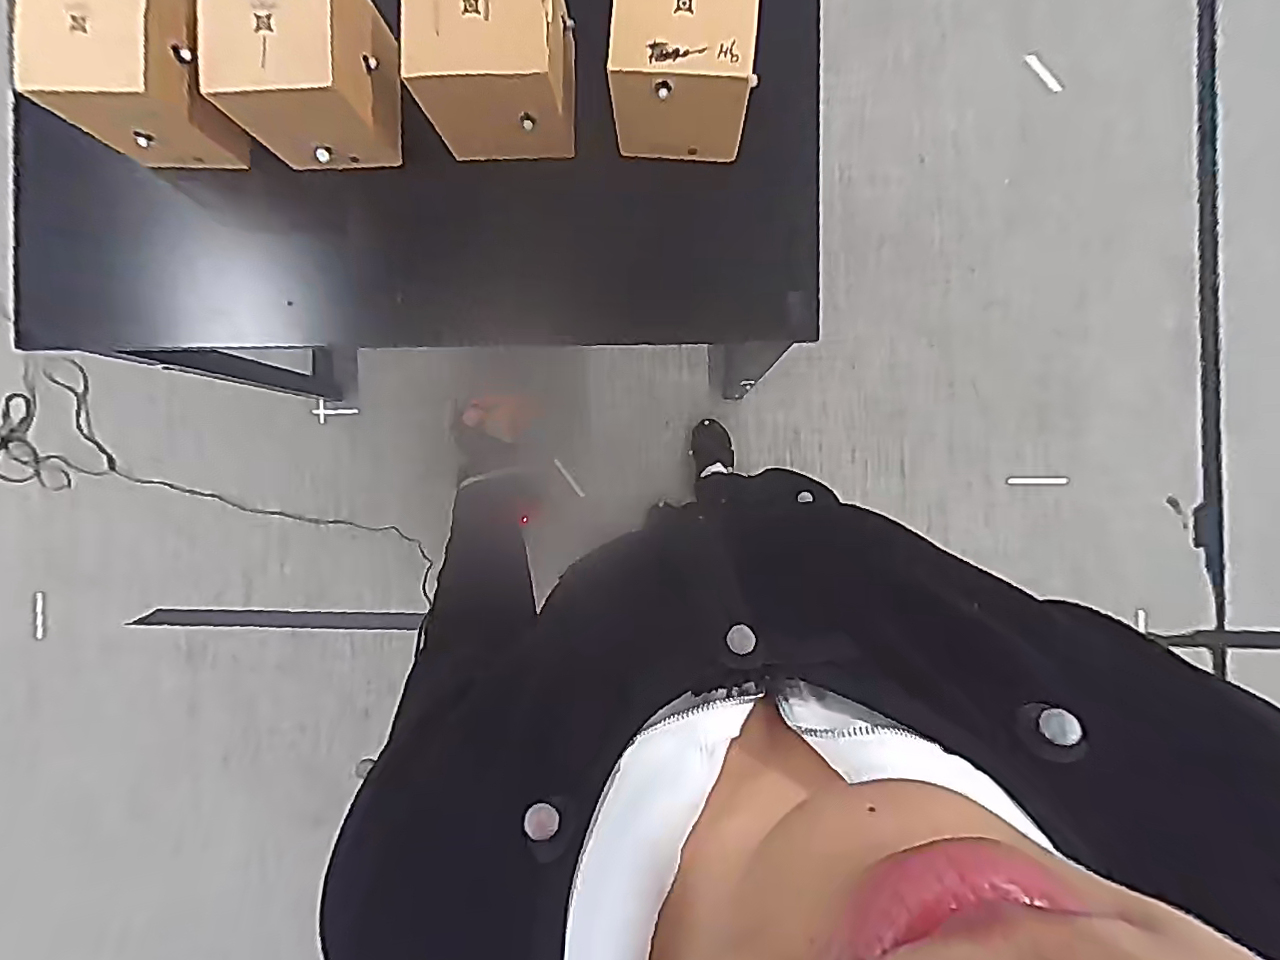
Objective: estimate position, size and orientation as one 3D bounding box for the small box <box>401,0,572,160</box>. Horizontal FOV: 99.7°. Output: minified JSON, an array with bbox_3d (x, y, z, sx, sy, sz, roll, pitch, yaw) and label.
[{"bbox_3d":[-0.186,-0.545,0.703,0.179,0.176,0.168,0,89,4],"label":"small box"}]

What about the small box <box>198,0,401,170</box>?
[{"bbox_3d":[-0.434,-0.543,0.714,0.168,0.176,0.179,-1,92,2],"label":"small box"}]

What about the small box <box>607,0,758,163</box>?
[{"bbox_3d":[0.055,-0.544,0.688,0.168,0.176,0.179,5,90,3],"label":"small box"}]

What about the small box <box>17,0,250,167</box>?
[{"bbox_3d":[-0.658,-0.550,0.725,0.168,0.176,0.179,3,90,2],"label":"small box"}]
